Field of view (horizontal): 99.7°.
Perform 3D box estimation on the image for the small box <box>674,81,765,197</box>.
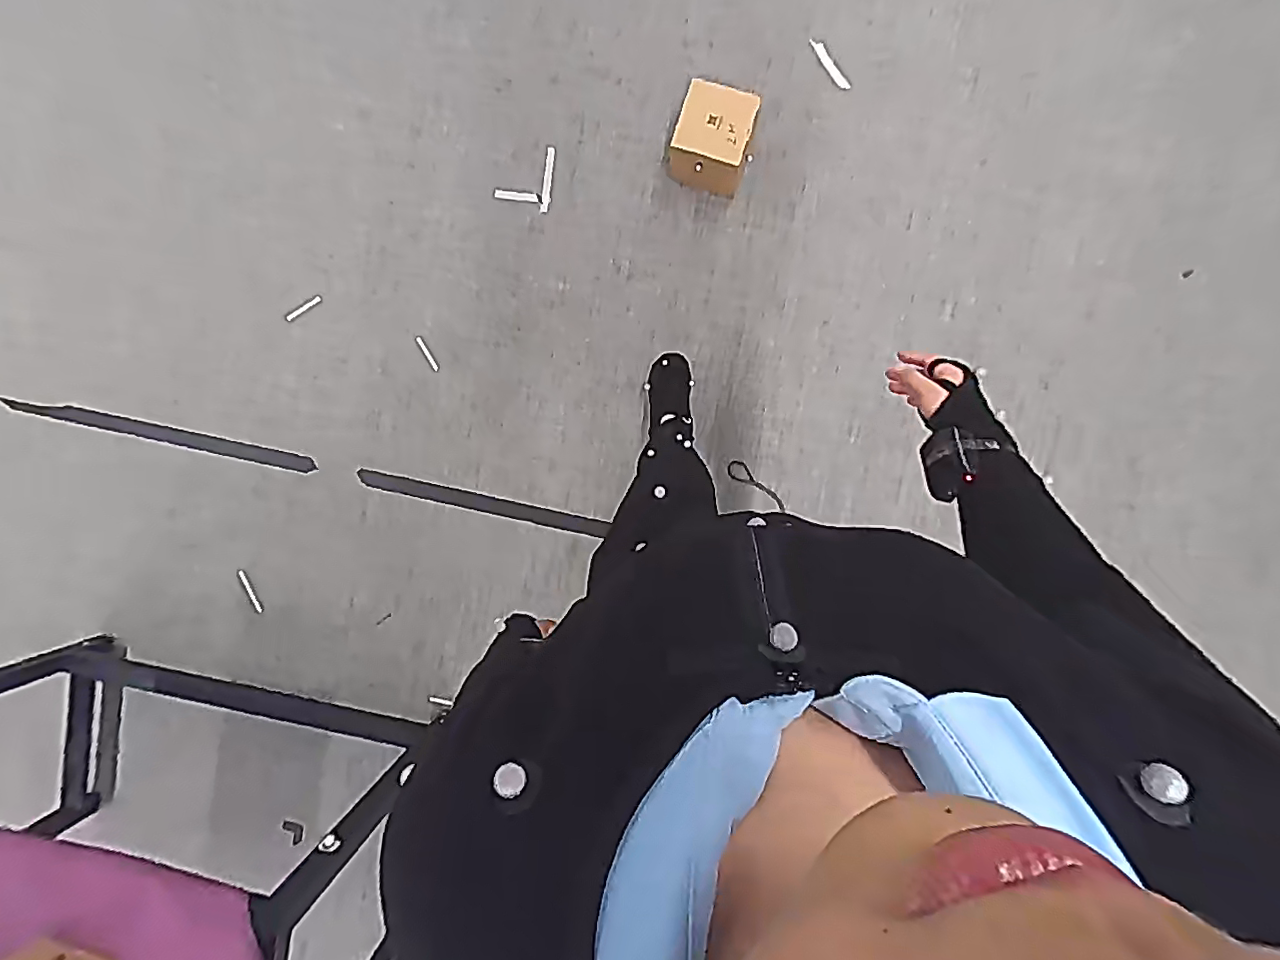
[{"bbox_3d":[0.195,-0.844,1.357,0.179,0.176,0.168,20,95,4],"label":"small box"}]
